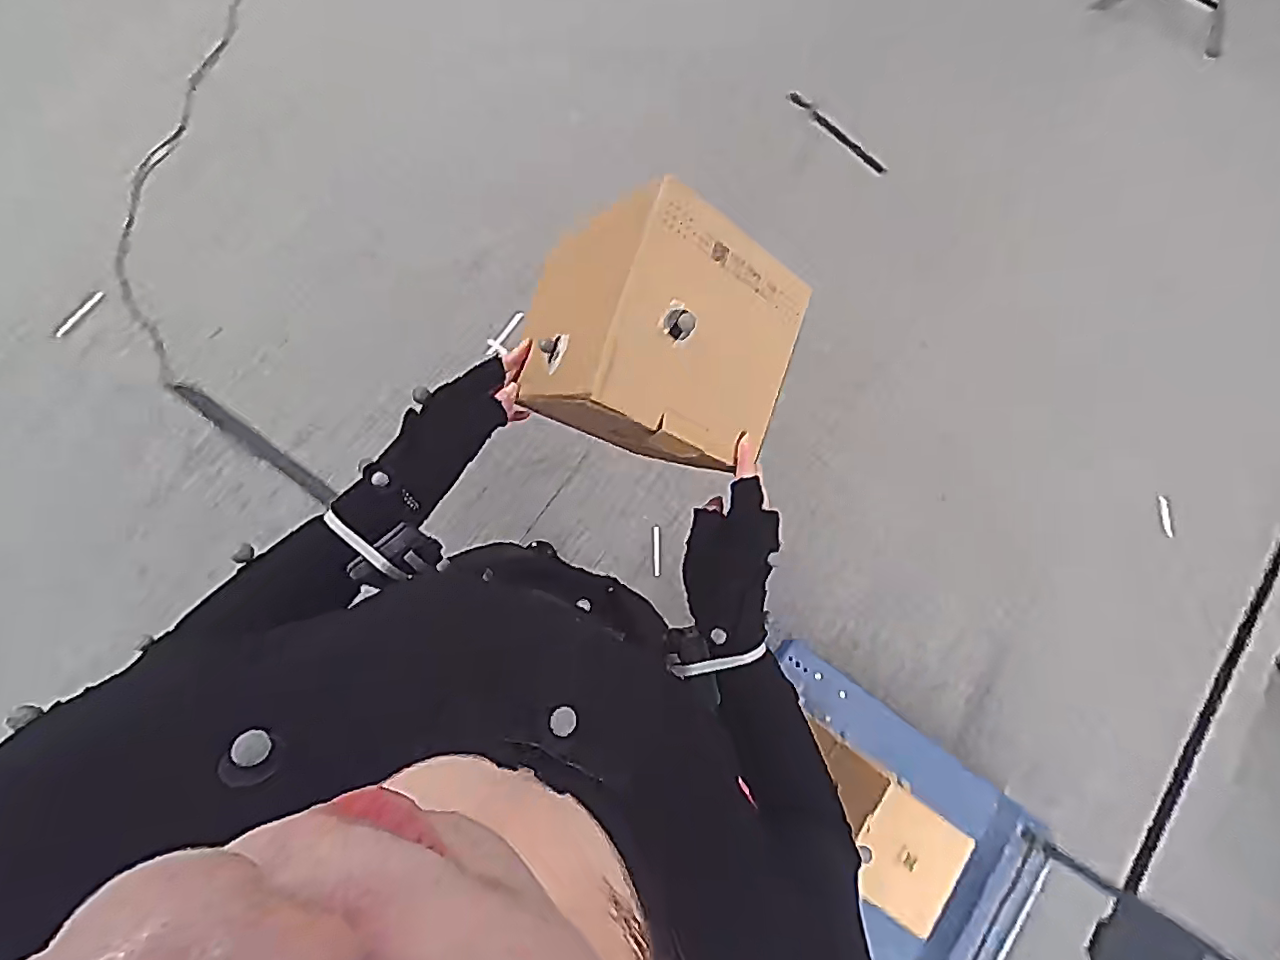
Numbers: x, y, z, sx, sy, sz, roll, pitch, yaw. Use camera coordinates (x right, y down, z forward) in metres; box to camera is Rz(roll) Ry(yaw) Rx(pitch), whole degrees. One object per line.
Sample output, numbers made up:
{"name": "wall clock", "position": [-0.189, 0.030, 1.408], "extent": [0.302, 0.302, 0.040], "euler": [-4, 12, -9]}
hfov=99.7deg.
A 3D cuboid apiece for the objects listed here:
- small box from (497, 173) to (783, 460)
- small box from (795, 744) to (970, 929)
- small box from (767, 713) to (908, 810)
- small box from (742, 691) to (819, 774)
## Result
{"name": "small box", "position": [0.004, -0.128, 0.472], "extent": [0.168, 0.179, 0.176], "euler": [21, 86, -36]}
{"name": "small box", "position": [0.403, 0.591, 0.925], "extent": [0.179, 0.176, 0.168], "euler": [36, 81, -2]}
{"name": "small box", "position": [0.385, 0.597, 1.087], "extent": [0.179, 0.176, 0.168], "euler": [34, 82, -2]}
{"name": "small box", "position": [0.364, 0.615, 1.250], "extent": [0.179, 0.176, 0.168], "euler": [36, 82, -3]}
